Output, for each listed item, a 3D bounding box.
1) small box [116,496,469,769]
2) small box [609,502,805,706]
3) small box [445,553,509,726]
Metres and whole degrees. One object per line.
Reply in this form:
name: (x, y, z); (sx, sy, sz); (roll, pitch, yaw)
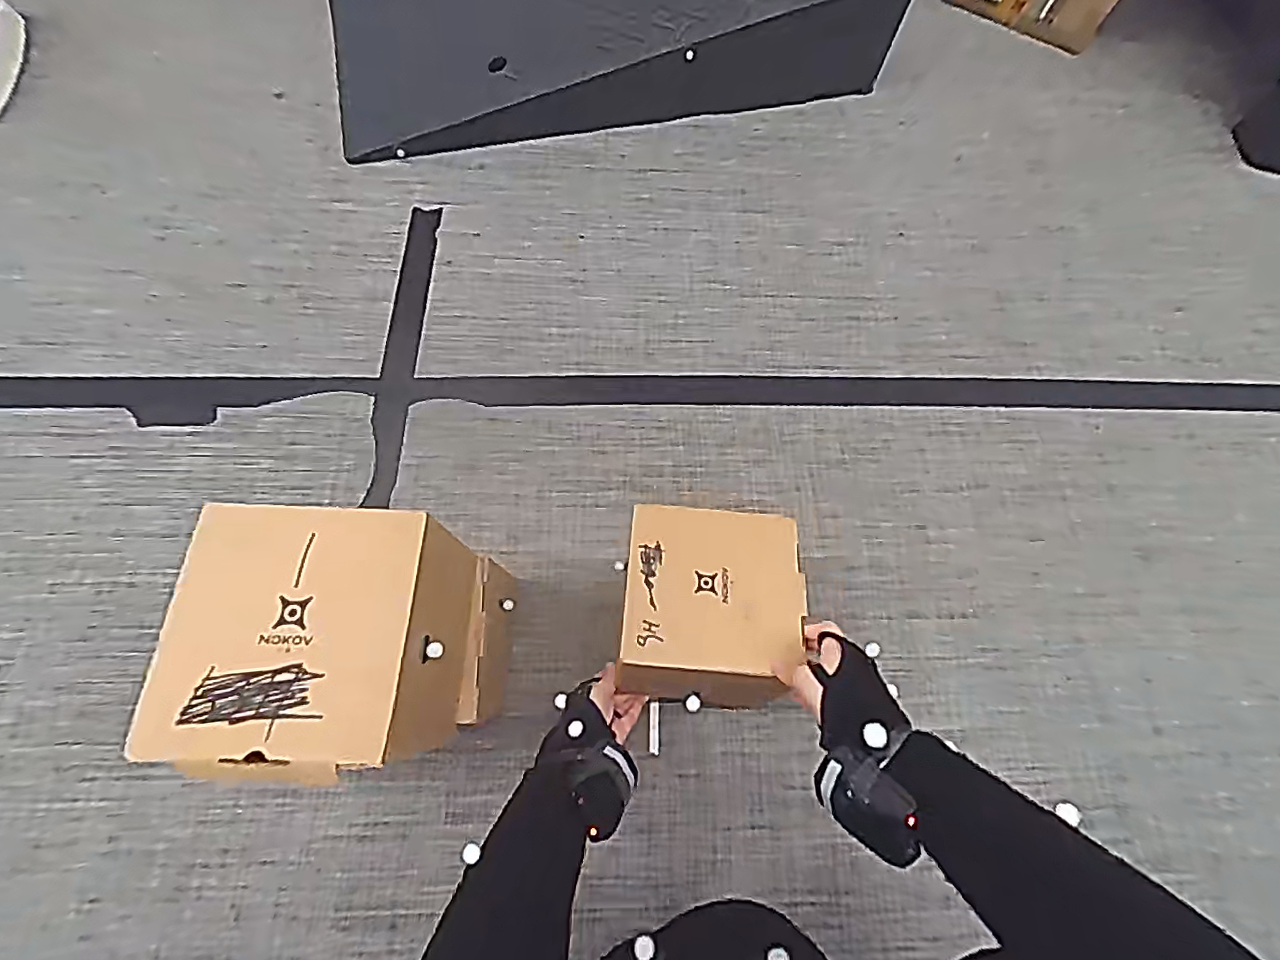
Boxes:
small box: (-0.249, 0.124, 0.444); (0.168, 0.176, 0.179); (3, 69, -3)
small box: (0.064, 0.143, 0.592); (0.179, 0.176, 0.168); (7, 59, -1)
small box: (-0.248, 0.175, 0.600); (0.179, 0.176, 0.168); (0, 71, -3)
